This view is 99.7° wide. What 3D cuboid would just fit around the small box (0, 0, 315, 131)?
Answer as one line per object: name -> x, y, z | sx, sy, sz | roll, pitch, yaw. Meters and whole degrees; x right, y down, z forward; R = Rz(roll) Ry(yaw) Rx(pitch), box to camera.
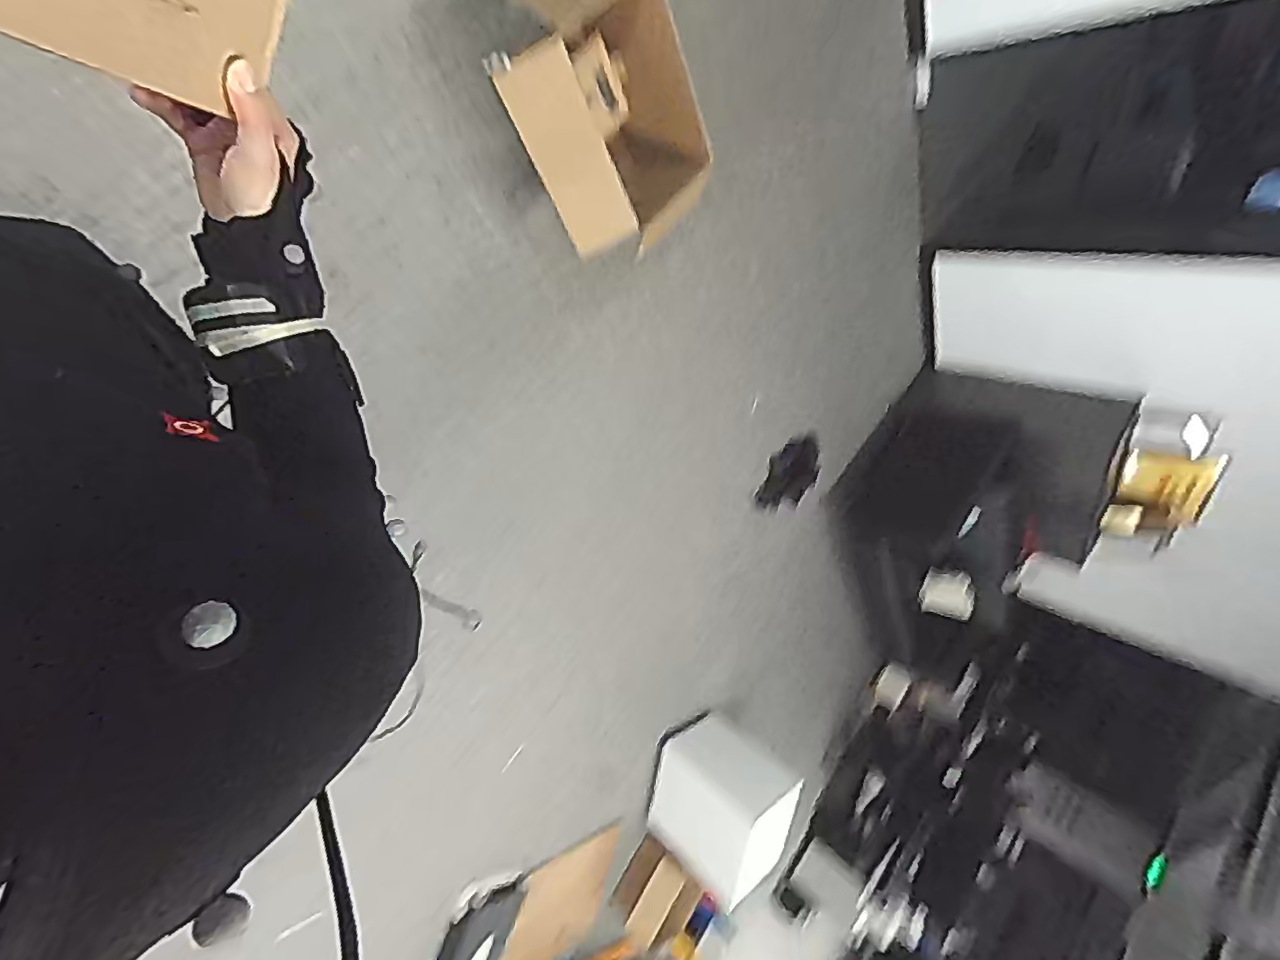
small box -> -0.271, -0.311, 0.238 | 0.179, 0.176, 0.168 | -56, 178, 19
